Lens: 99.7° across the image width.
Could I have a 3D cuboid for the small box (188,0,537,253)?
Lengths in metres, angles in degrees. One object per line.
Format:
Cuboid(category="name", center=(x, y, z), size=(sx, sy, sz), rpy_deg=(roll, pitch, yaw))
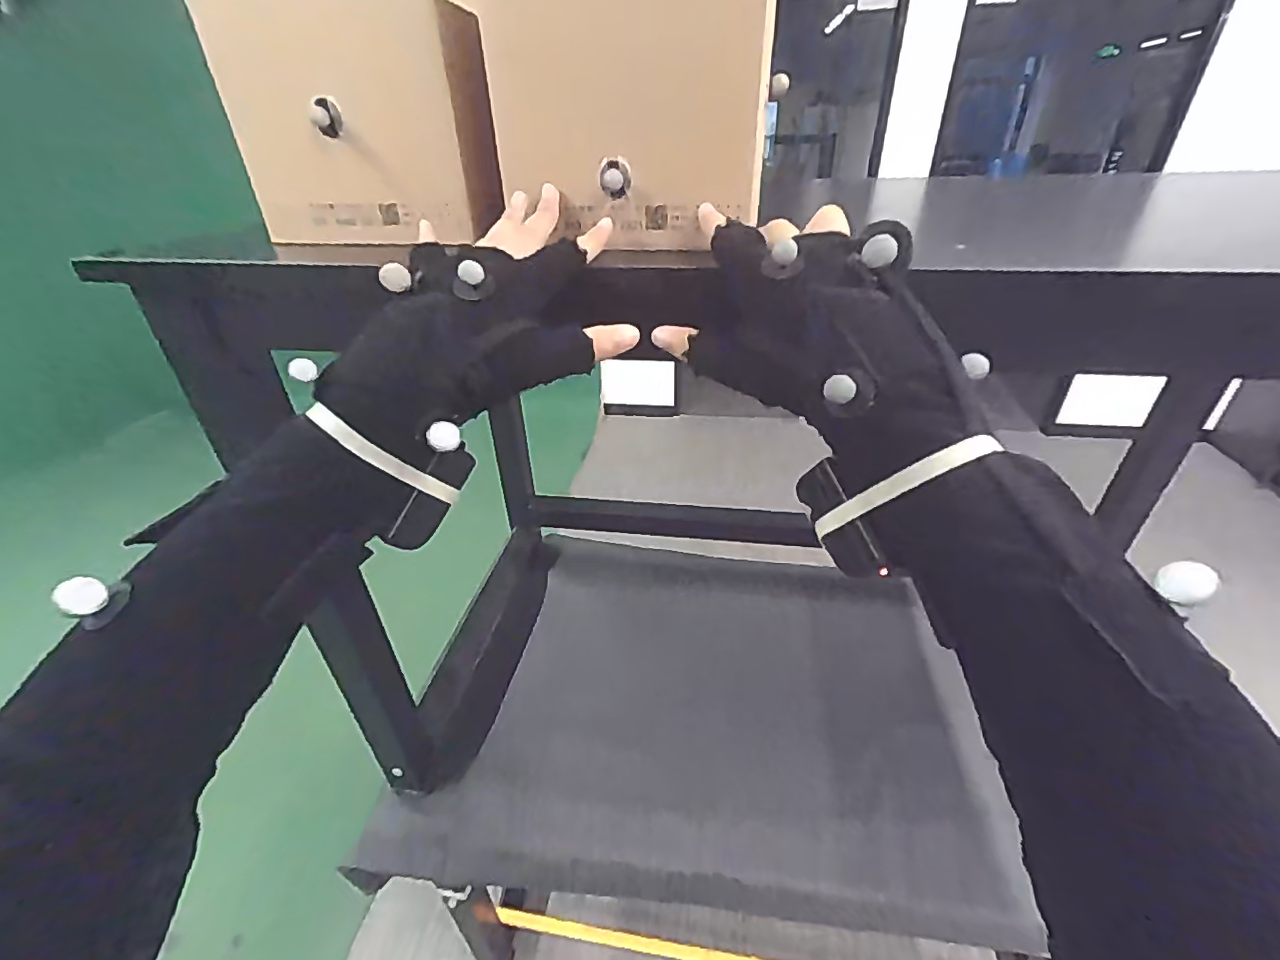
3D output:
Cuboid(category="small box", center=(-0.191, -0.285, 0.436), size=(0.168, 0.176, 0.179), rpy_deg=(4, 33, 8))
